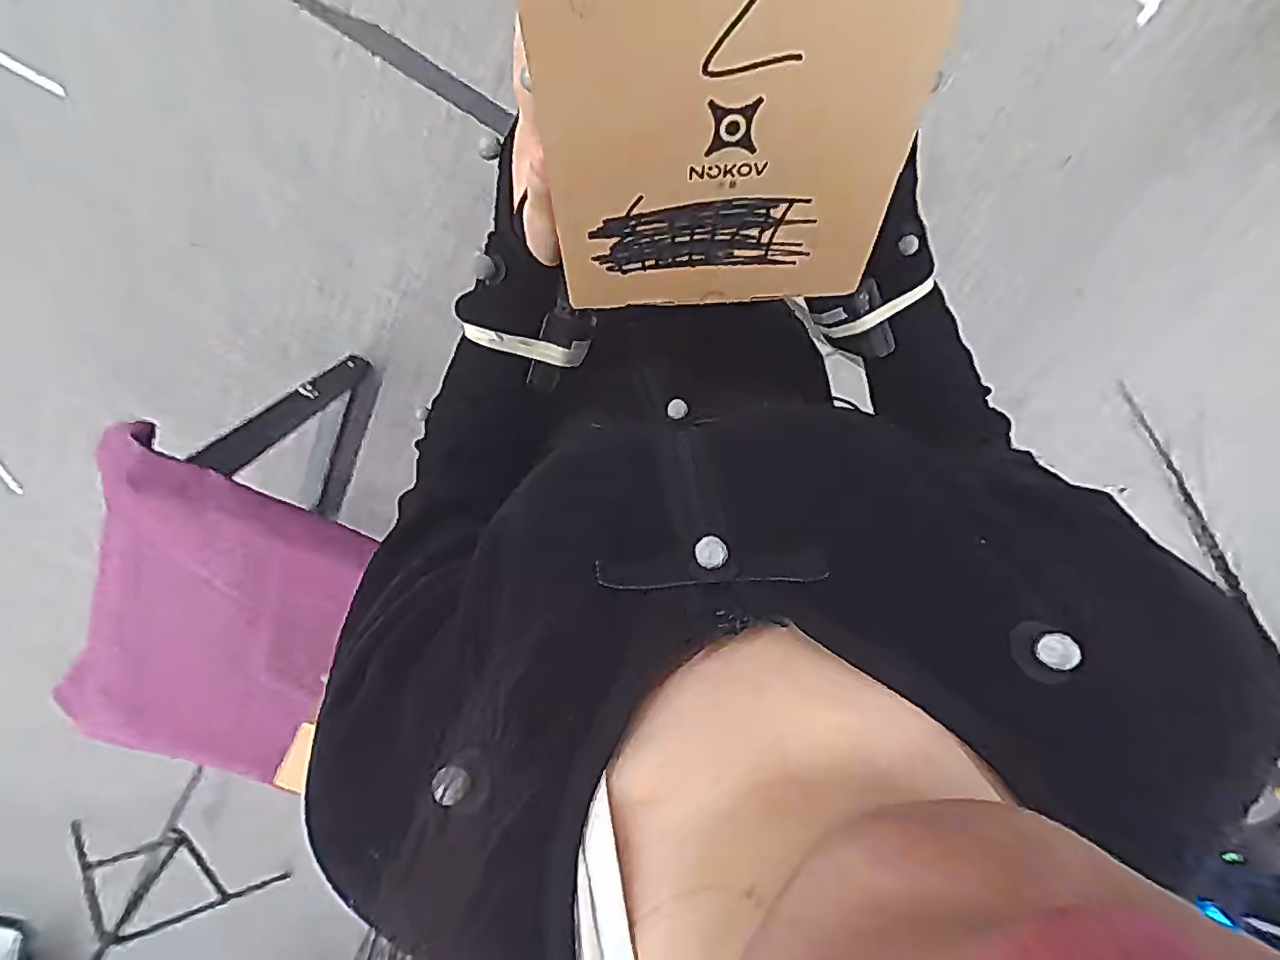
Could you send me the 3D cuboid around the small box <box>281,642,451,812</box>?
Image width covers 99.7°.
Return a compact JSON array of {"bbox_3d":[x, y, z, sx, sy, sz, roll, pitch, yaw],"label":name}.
[{"bbox_3d":[-0.436,0.399,0.888,0.179,0.176,0.168,28,113,-14],"label":"small box"}]
